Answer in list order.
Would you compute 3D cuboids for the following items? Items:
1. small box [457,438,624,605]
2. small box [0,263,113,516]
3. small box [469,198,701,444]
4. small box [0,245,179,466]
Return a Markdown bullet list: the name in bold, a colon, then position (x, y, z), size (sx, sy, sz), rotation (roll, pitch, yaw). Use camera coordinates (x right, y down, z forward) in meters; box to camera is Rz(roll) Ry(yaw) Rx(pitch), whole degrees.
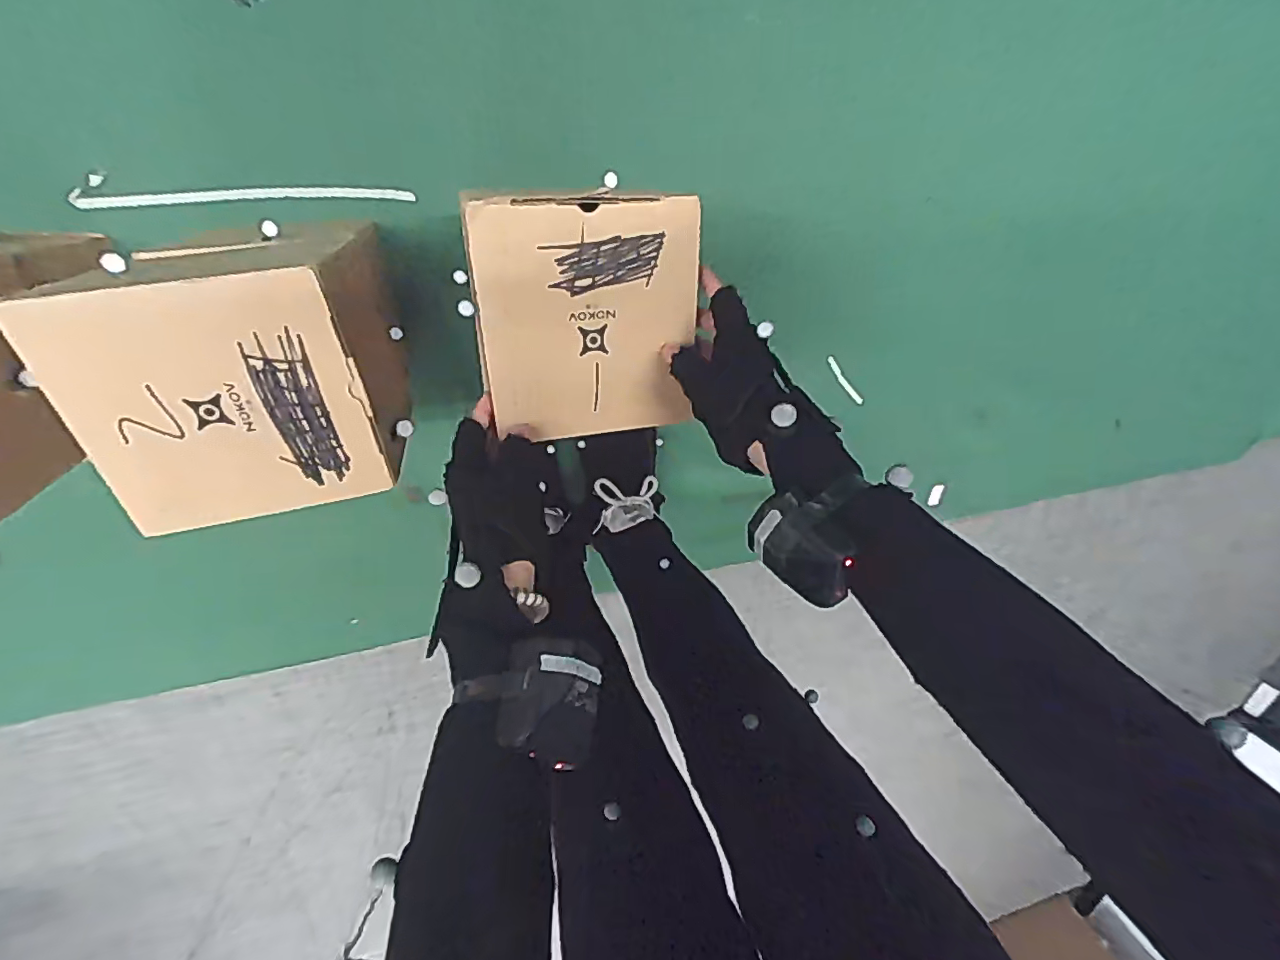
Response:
- **small box**: position (-0.141, 0.044, 0.772), size (0.179, 0.176, 0.168), rotation (27, 118, -9)
- **small box**: position (-0.545, -0.056, 0.377), size (0.179, 0.176, 0.168), rotation (-6, 119, -14)
- **small box**: position (-0.056, -0.151, 0.481), size (0.168, 0.176, 0.179), rotation (-8, 120, -14)
- **small box**: position (-0.597, -0.122, 0.519), size (0.168, 0.176, 0.179), rotation (-5, 119, -15)
